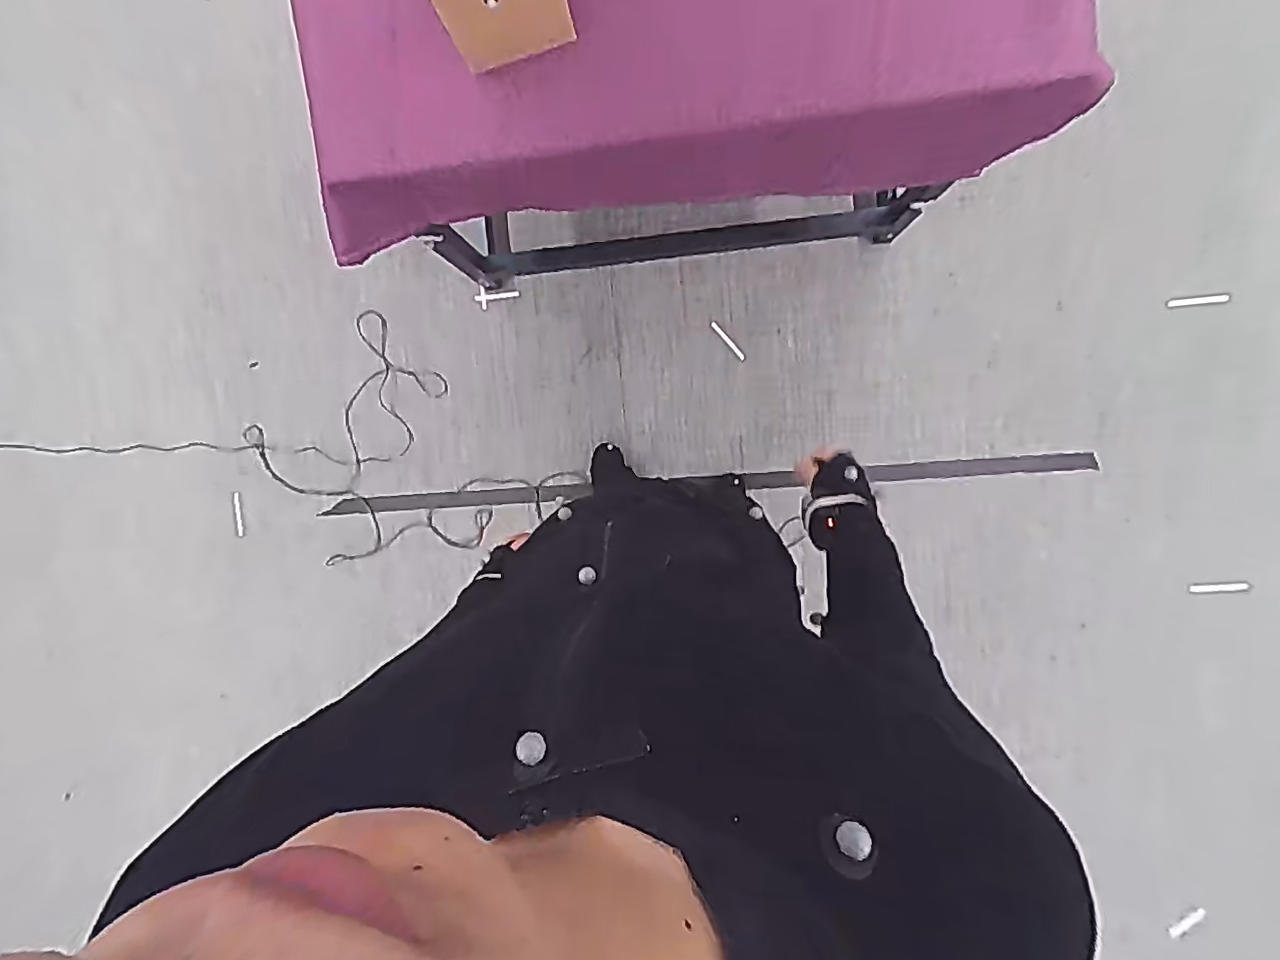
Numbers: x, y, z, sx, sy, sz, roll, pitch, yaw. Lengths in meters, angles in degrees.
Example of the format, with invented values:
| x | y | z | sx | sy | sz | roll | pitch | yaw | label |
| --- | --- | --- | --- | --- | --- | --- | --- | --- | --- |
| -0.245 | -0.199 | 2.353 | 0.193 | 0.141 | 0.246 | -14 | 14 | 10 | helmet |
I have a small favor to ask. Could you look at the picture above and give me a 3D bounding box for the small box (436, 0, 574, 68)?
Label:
| x | y | z | sx | sy | sz | roll | pitch | yaw | label |
| --- | --- | --- | --- | --- | --- | --- | --- | --- | --- |
| -0.209 | -0.738 | 0.769 | 0.179 | 0.176 | 0.168 | -15 | 93 | 4 | small box |
